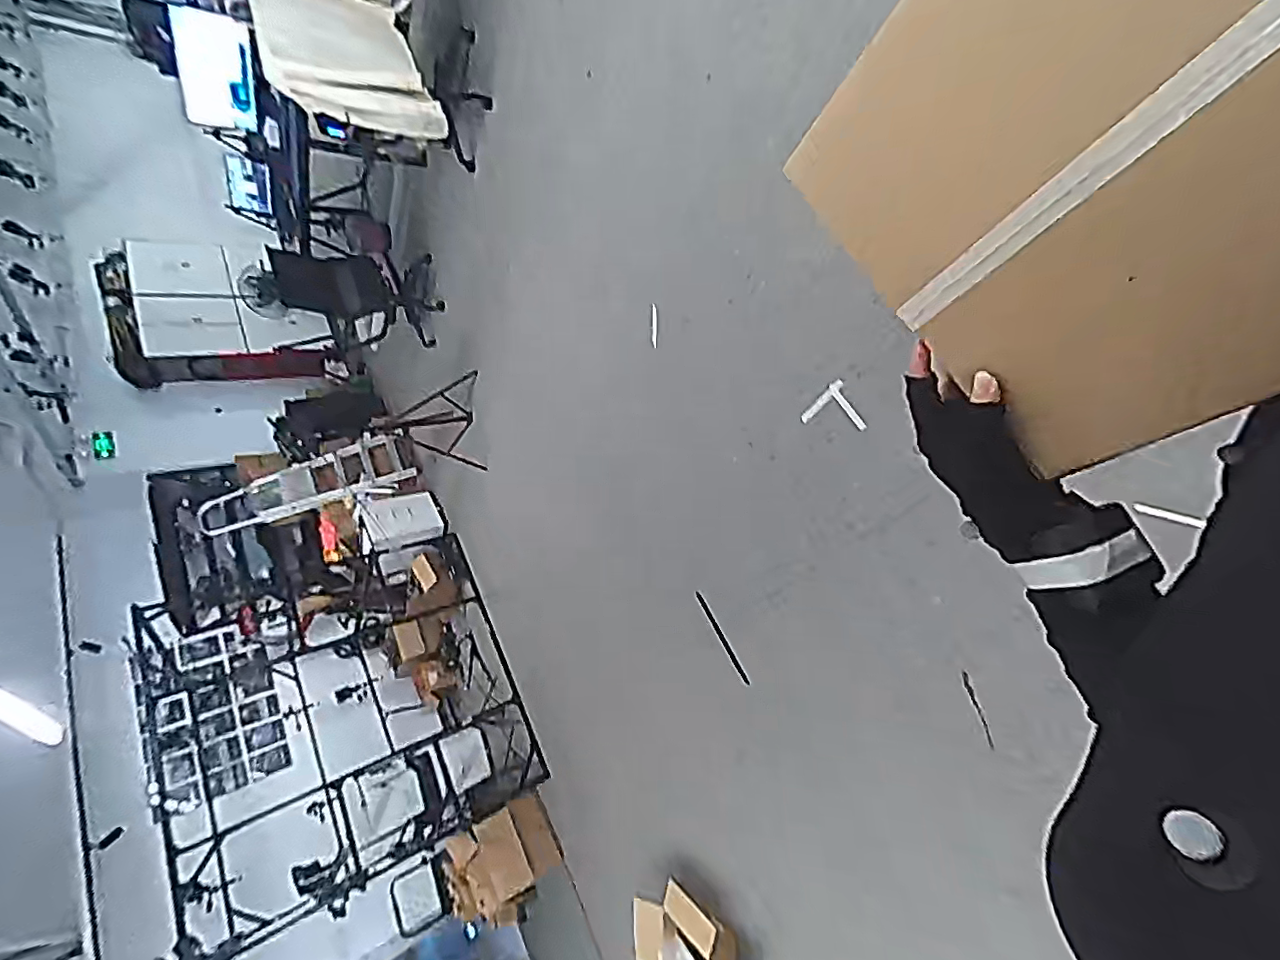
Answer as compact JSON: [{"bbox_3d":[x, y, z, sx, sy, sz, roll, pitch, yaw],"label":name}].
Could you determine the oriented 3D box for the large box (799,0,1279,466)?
[{"bbox_3d":[0.396,-0.273,0.344,0.320,0.320,0.408,54,146,6],"label":"large box"}]
